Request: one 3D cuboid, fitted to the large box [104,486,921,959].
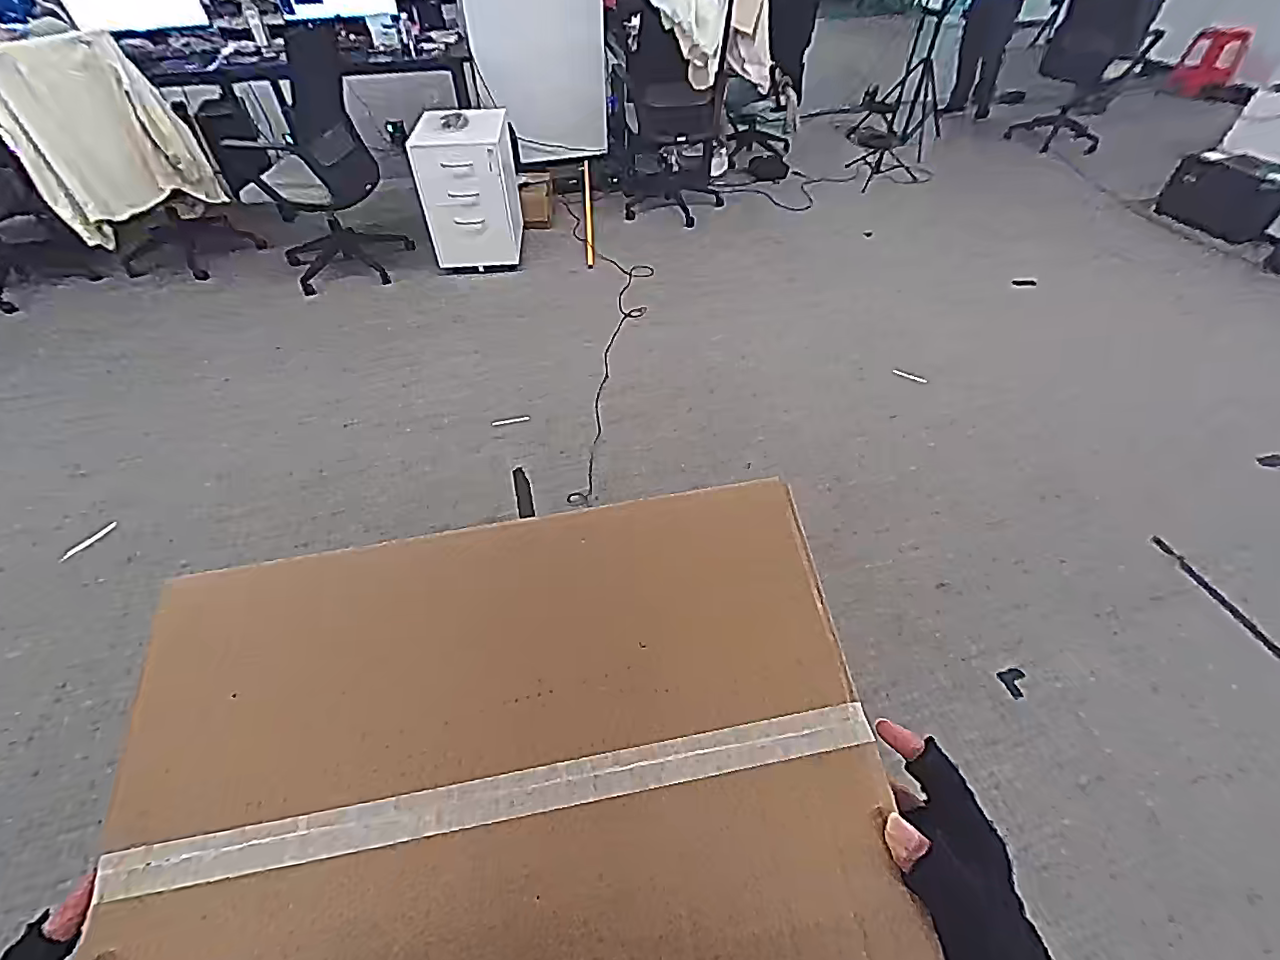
[{"bbox_3d":[-0.073,0.235,0.435,0.408,0.320,0.320,-9,63,-4],"label":"large box"}]
